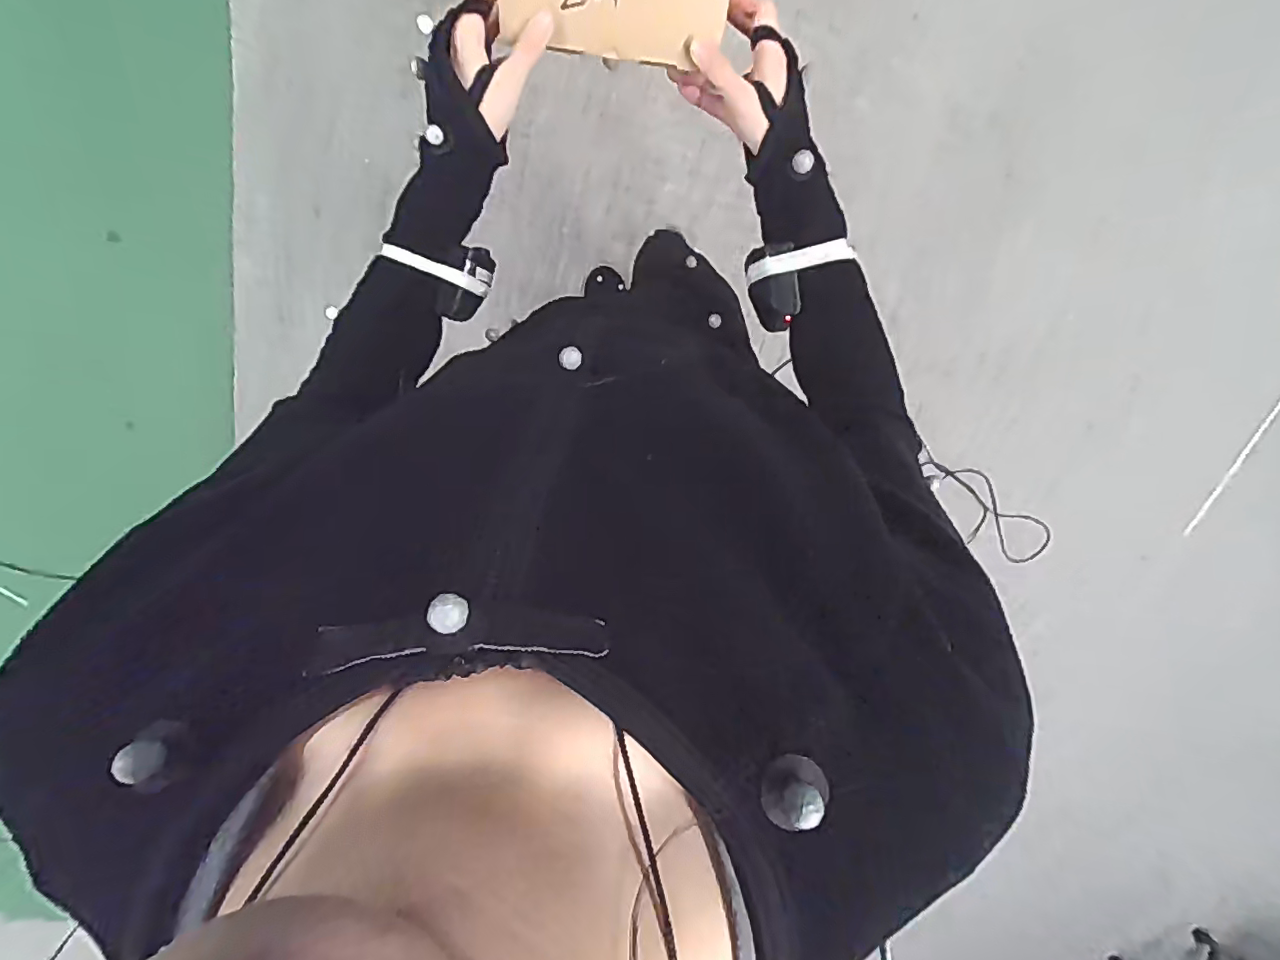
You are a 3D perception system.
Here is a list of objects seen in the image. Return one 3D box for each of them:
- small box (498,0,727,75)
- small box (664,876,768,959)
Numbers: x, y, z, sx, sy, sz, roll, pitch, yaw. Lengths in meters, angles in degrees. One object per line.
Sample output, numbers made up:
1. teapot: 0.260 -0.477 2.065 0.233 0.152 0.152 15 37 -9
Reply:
1. small box: -0.012 -0.437 0.410 0.168 0.176 0.179 6 133 -5
2. small box: 0.142 0.926 1.068 0.168 0.176 0.179 9 113 -2
